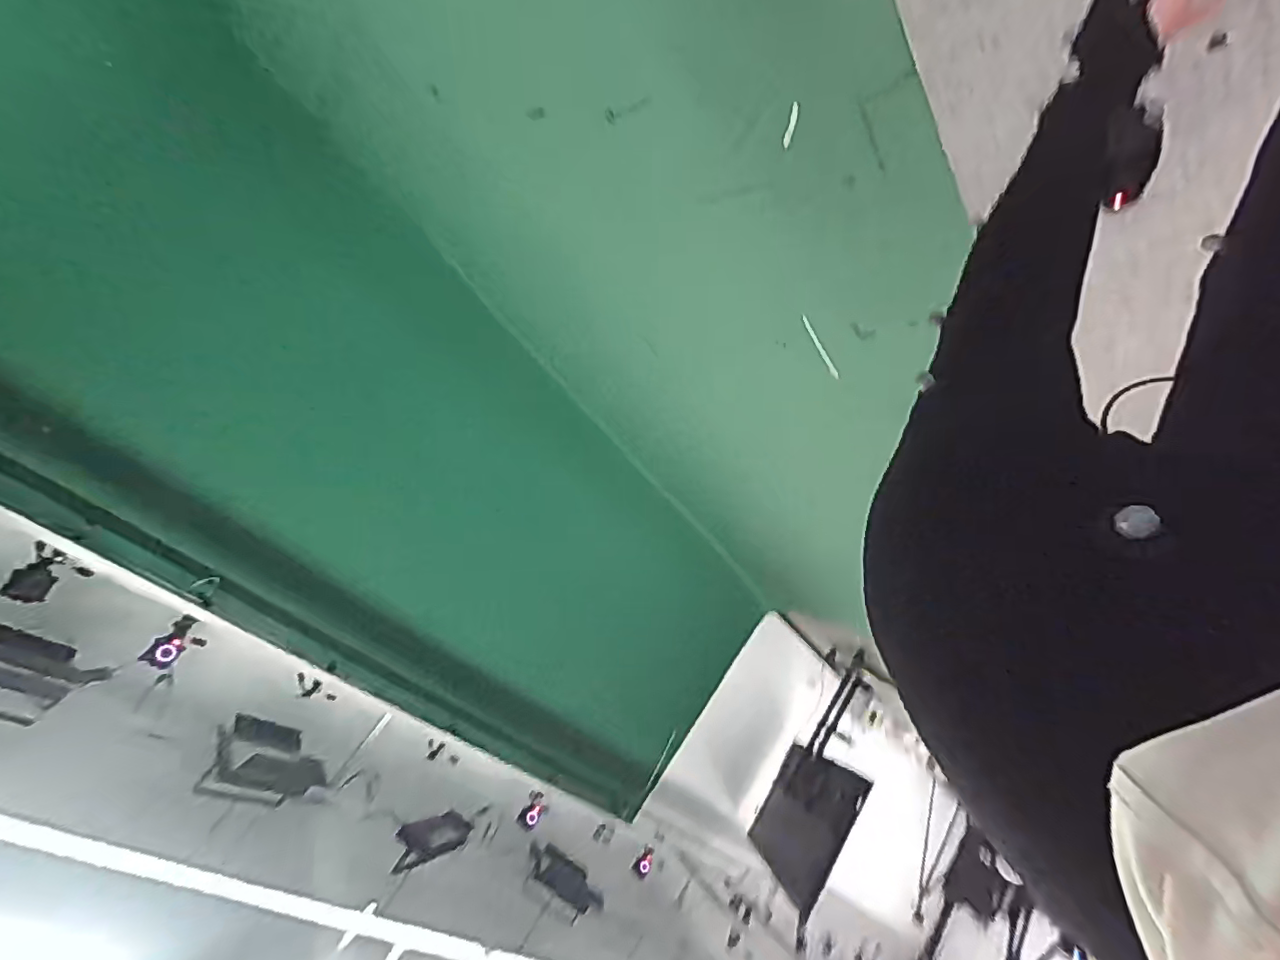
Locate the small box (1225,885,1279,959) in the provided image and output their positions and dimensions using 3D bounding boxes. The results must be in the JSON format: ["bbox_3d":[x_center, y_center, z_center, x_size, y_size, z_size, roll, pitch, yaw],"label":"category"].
[{"bbox_3d":[1.418,1.032,1.178,0.179,0.176,0.168,48,162,-30],"label":"small box"}]
